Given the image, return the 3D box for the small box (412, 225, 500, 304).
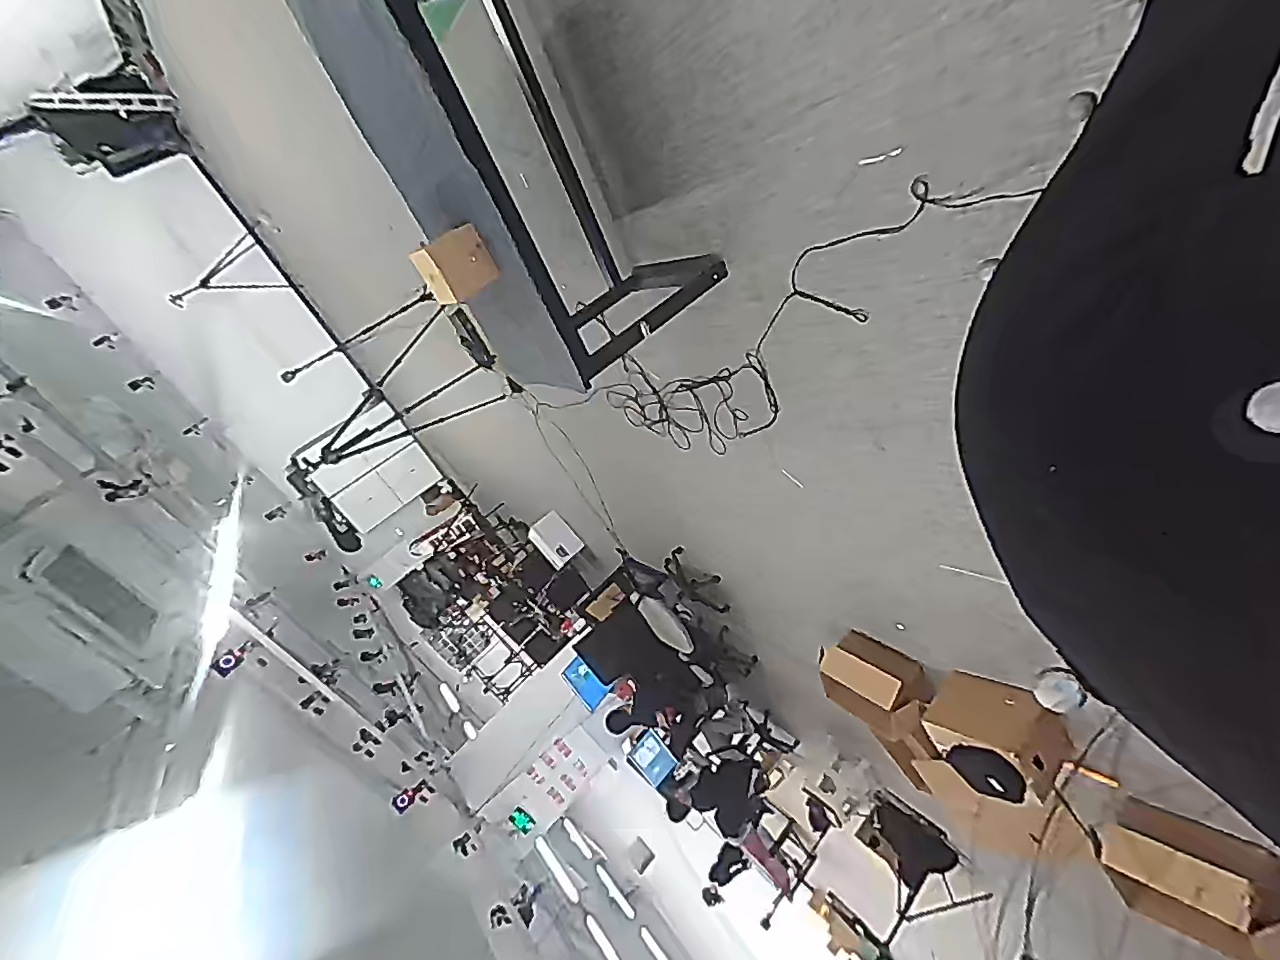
[{"bbox_3d":[-0.558,-0.654,1.650,0.179,0.176,0.168,20,144,50],"label":"small box"}]
